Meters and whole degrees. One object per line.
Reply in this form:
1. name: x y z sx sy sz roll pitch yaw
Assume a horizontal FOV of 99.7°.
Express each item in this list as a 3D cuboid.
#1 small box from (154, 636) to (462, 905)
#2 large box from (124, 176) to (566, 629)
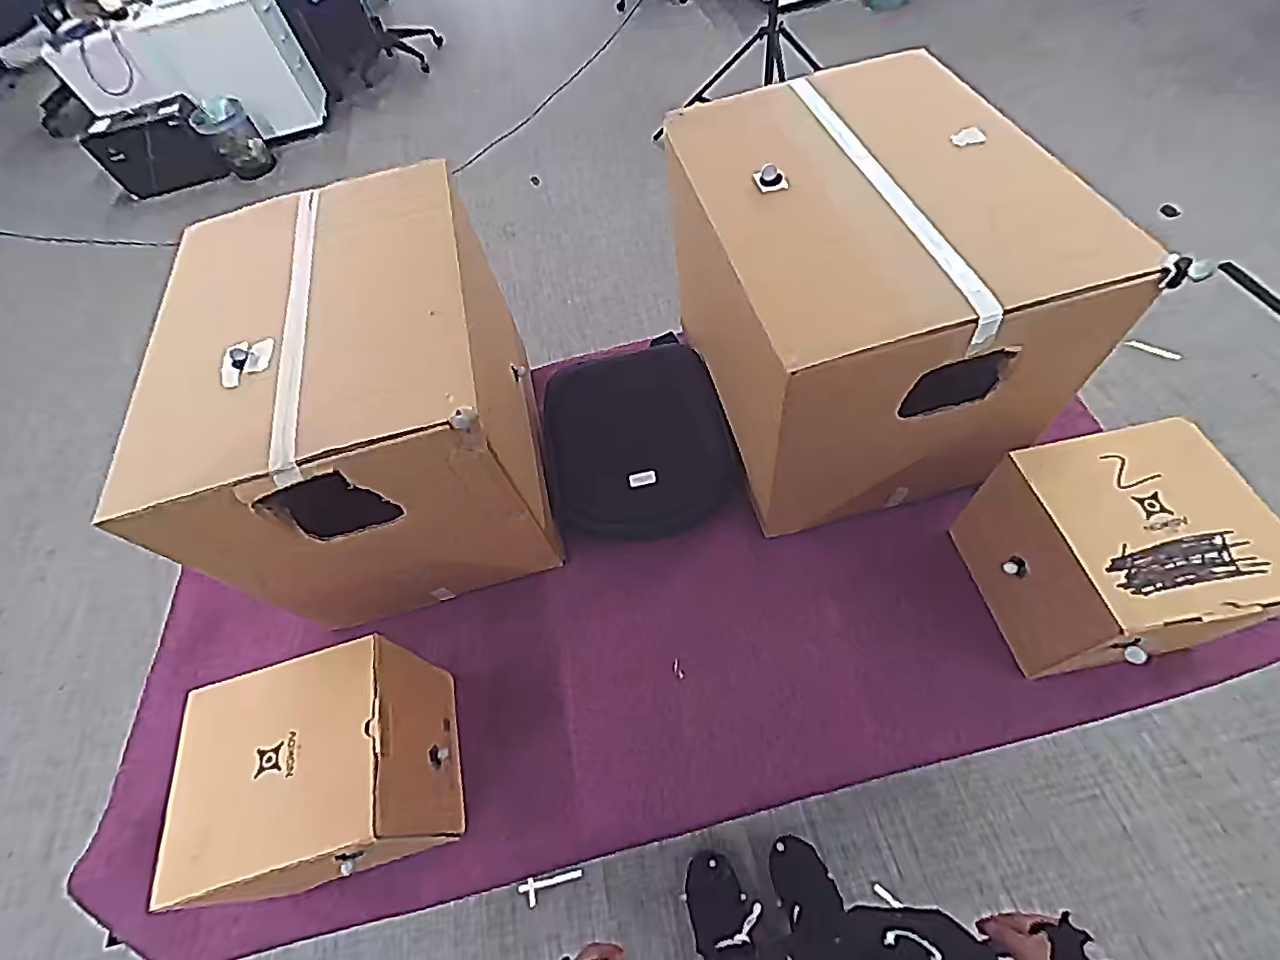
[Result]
1. small box: -0.294 0.277 0.519 0.179 0.176 0.168 -18 57 -3
2. large box: -0.305 -0.084 0.663 0.320 0.320 0.408 -17 60 -1
